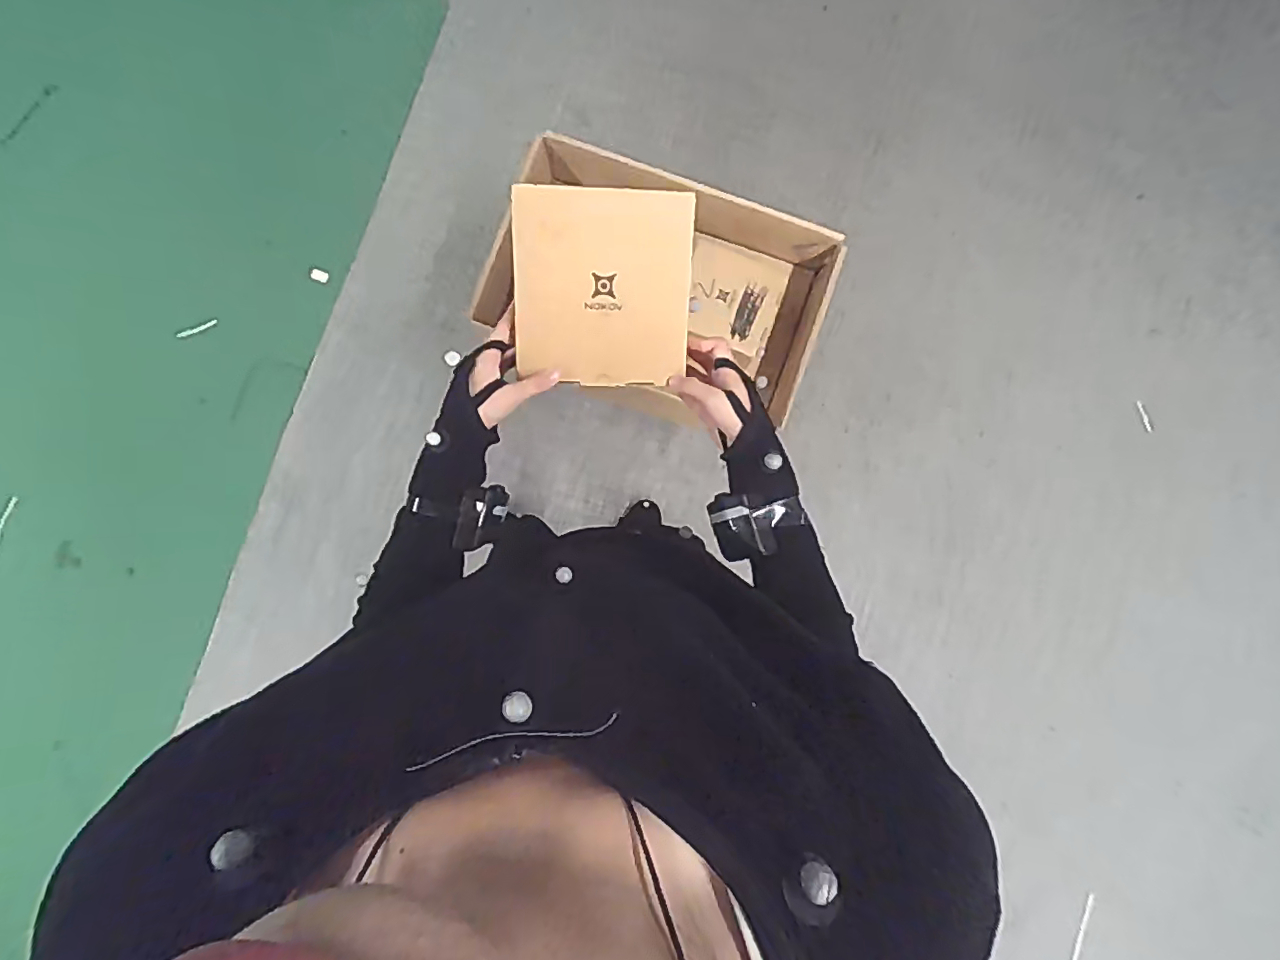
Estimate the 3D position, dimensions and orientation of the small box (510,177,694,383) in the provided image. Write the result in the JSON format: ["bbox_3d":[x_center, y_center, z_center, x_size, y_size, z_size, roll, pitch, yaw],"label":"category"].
[{"bbox_3d":[-0.043,-0.200,0.573,0.168,0.176,0.179,0,107,-5],"label":"small box"}]
